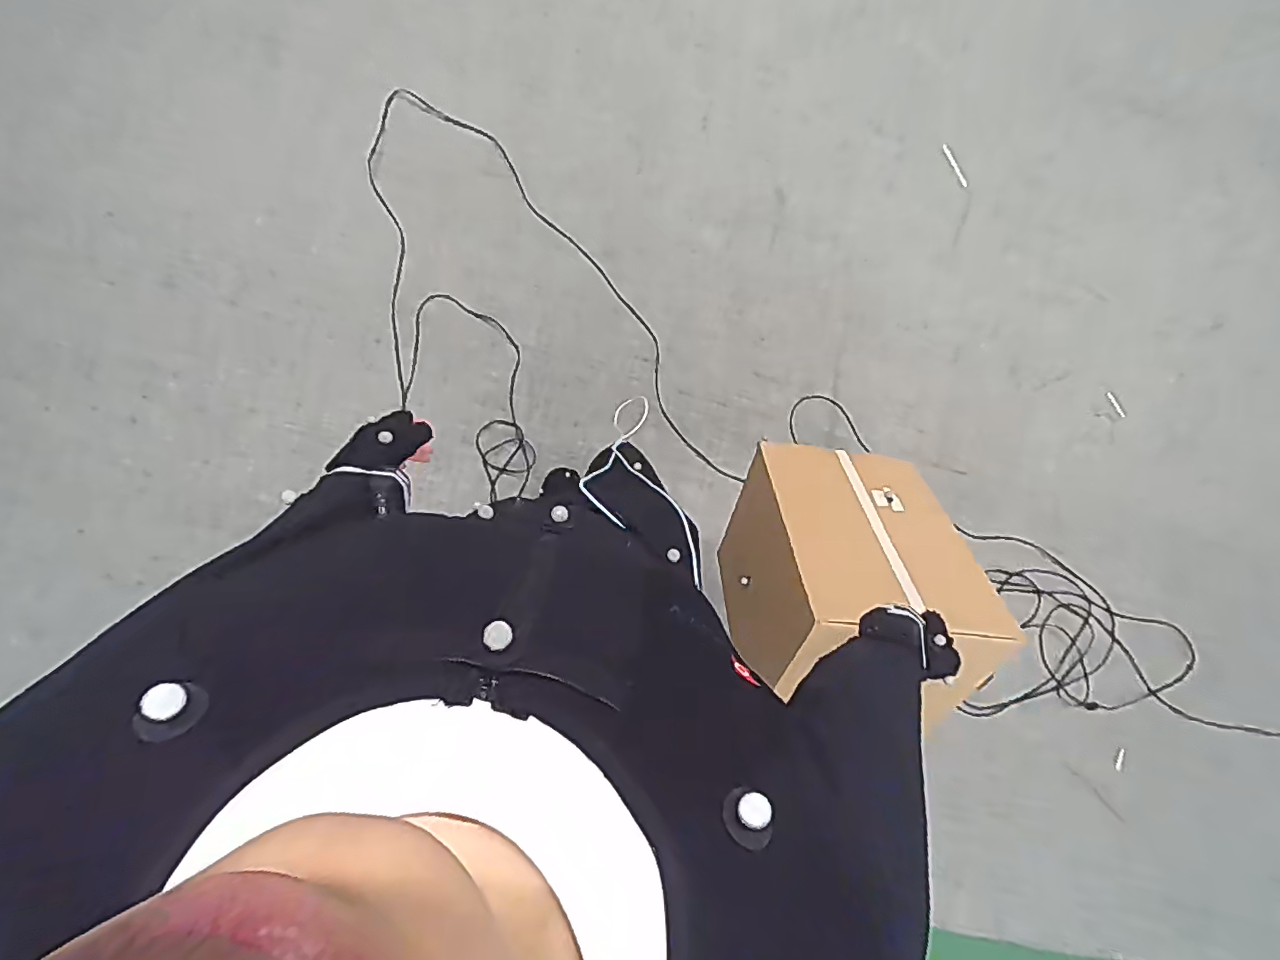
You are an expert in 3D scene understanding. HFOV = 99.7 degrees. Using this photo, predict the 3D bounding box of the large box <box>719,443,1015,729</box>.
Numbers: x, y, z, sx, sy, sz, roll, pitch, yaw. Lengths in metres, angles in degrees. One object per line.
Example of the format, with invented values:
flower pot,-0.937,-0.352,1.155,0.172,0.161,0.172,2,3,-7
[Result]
large box,0.352,0.187,0.985,0.320,0.408,0.320,8,129,-7
